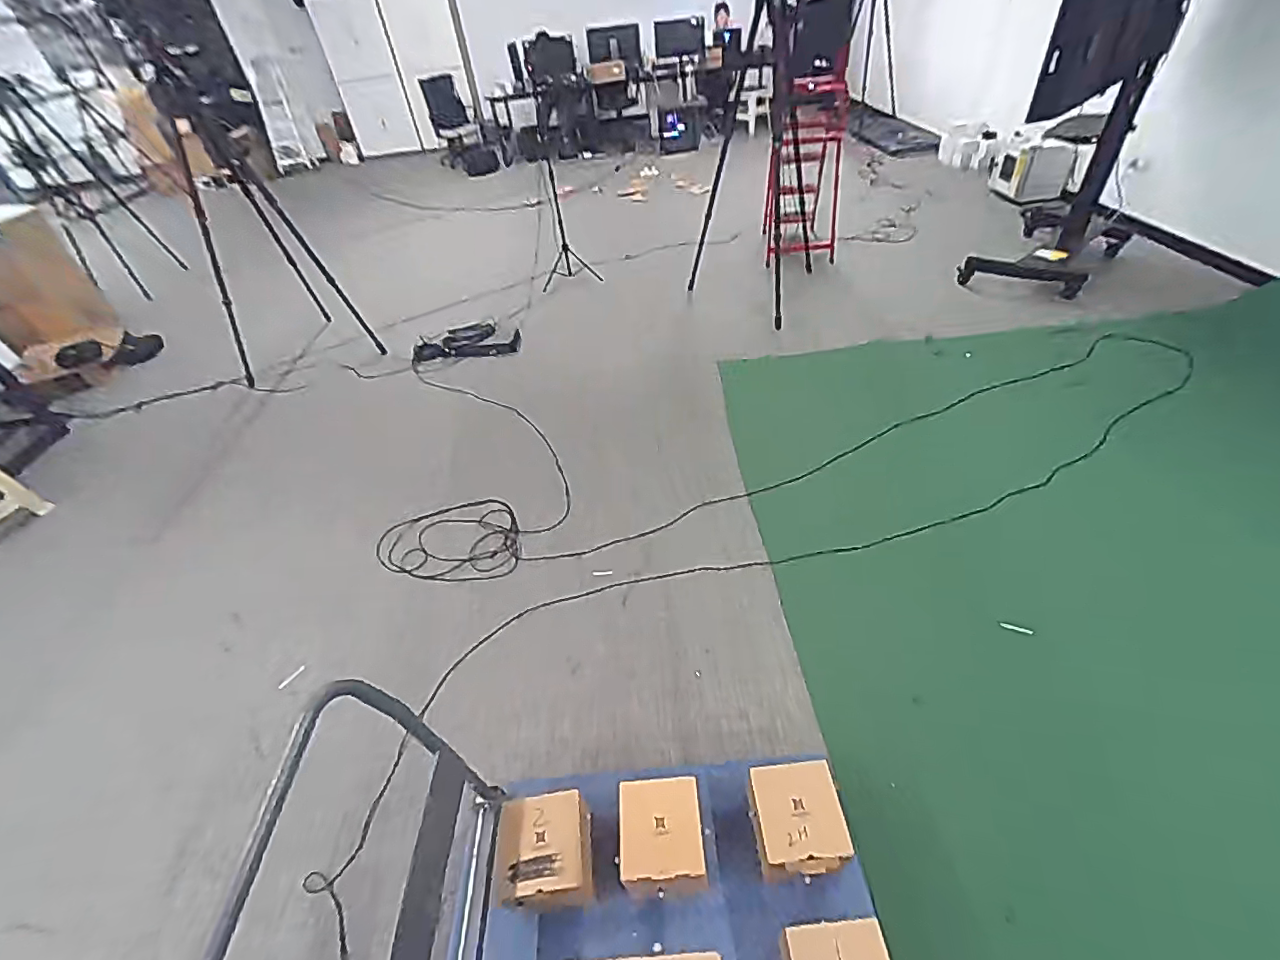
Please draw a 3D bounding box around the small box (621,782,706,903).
[{"bbox_3d":[0.048,0.768,1.144,0.168,0.176,0.179,-6,43,2],"label":"small box"}]

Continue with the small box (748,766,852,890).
[{"bbox_3d":[0.325,0.731,1.137,0.168,0.176,0.179,-8,42,2],"label":"small box"}]

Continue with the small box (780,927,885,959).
[{"bbox_3d":[0.350,0.919,0.951,0.168,0.176,0.179,-7,41,1],"label":"small box"}]
